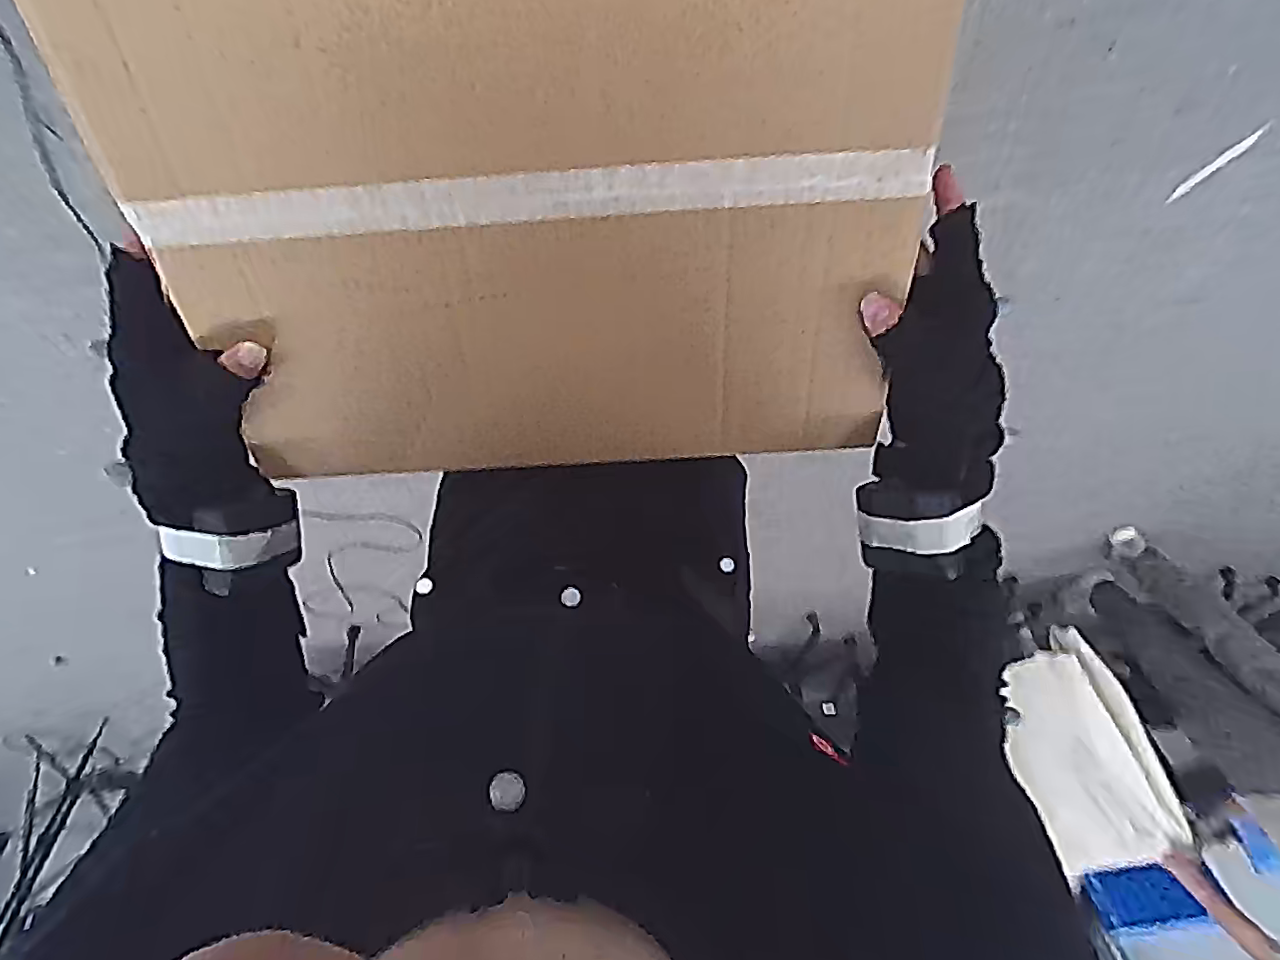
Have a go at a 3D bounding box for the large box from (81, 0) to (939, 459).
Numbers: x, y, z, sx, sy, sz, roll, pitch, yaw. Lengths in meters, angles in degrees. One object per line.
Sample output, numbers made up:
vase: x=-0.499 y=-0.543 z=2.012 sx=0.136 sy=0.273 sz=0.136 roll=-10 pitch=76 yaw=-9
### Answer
large box: x=-0.058 y=-0.234 z=0.418 sx=0.408 sy=0.320 sz=0.320 roll=-3 pitch=123 yaw=1
